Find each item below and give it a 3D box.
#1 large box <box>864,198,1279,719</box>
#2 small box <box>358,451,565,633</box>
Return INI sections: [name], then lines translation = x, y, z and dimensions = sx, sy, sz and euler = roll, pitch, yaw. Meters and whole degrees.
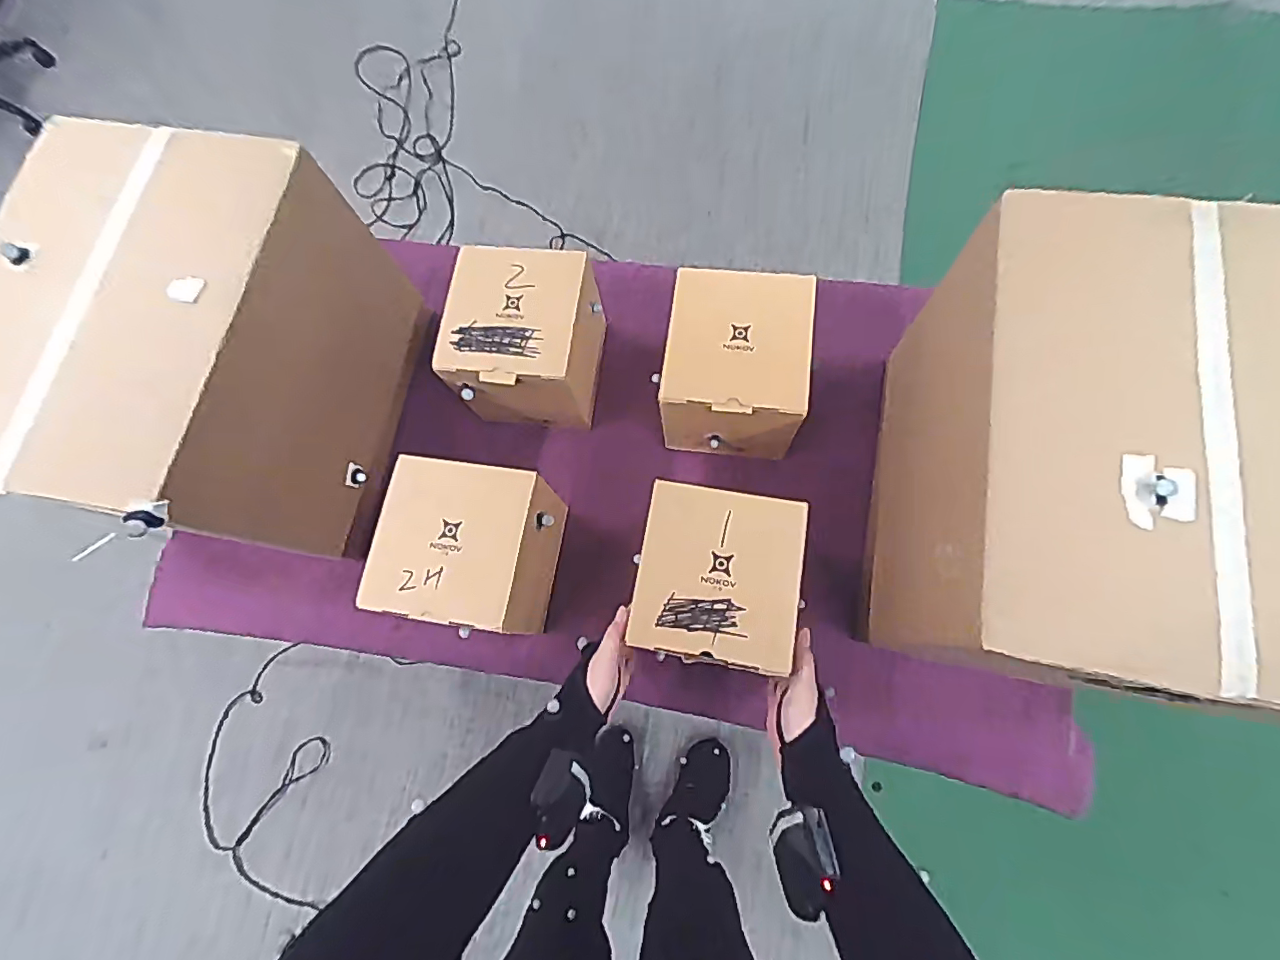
[large box]
translation = 0.448, -0.002, 0.558
dimensions = 0.320, 0.320, 0.408
euler = 9, 76, 9
[small box]
translation = -0.196, 0.083, 0.653
dimensions = 0.168, 0.176, 0.179
euler = 7, 74, 7
